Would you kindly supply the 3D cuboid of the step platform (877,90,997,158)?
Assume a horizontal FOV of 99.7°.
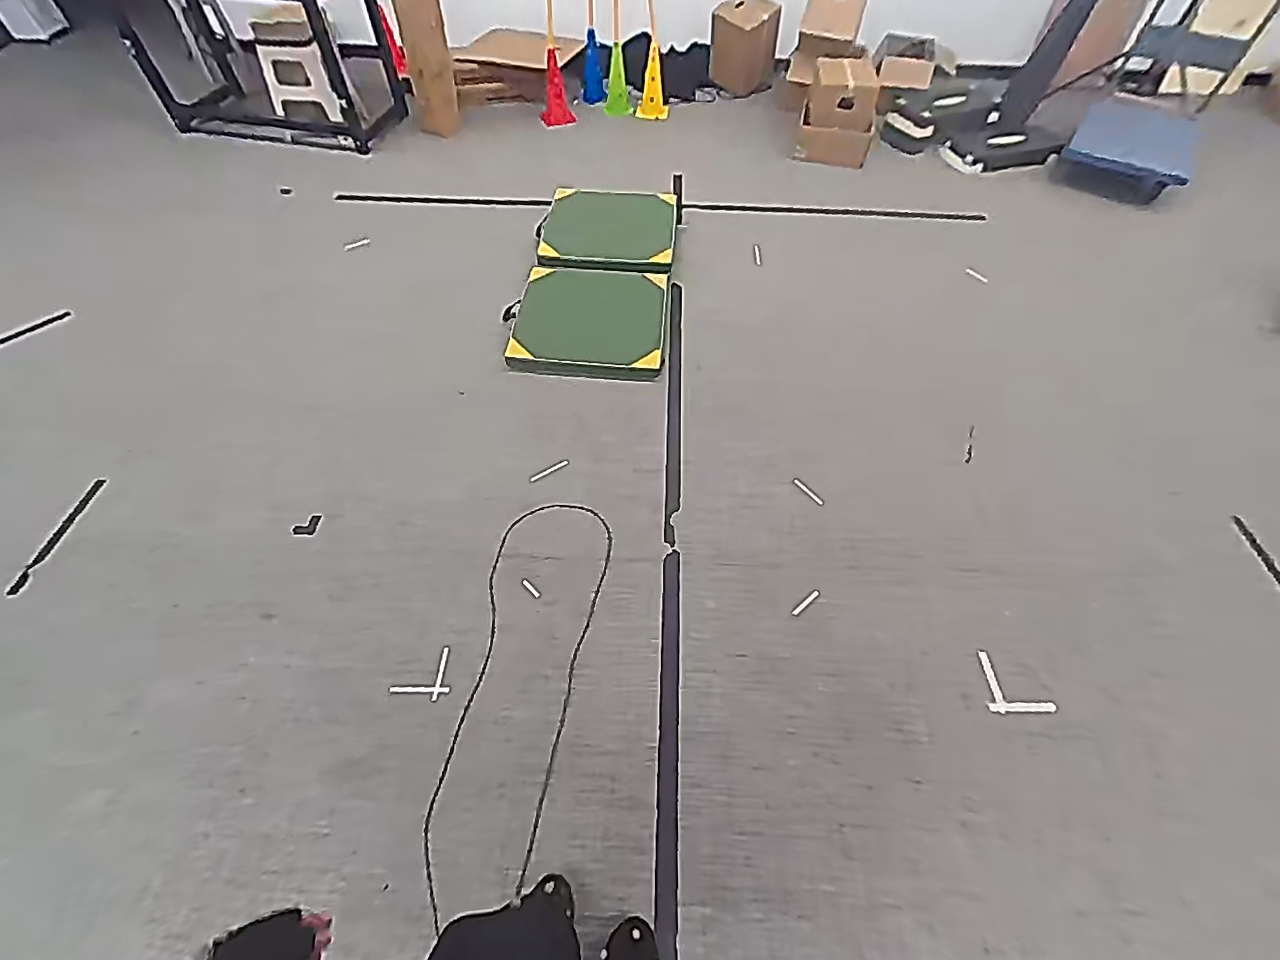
[{"bbox_3d":[1.803,-2.165,3.276,0.684,0.204,0.286,-22,58,-16],"label":"step platform"}]
